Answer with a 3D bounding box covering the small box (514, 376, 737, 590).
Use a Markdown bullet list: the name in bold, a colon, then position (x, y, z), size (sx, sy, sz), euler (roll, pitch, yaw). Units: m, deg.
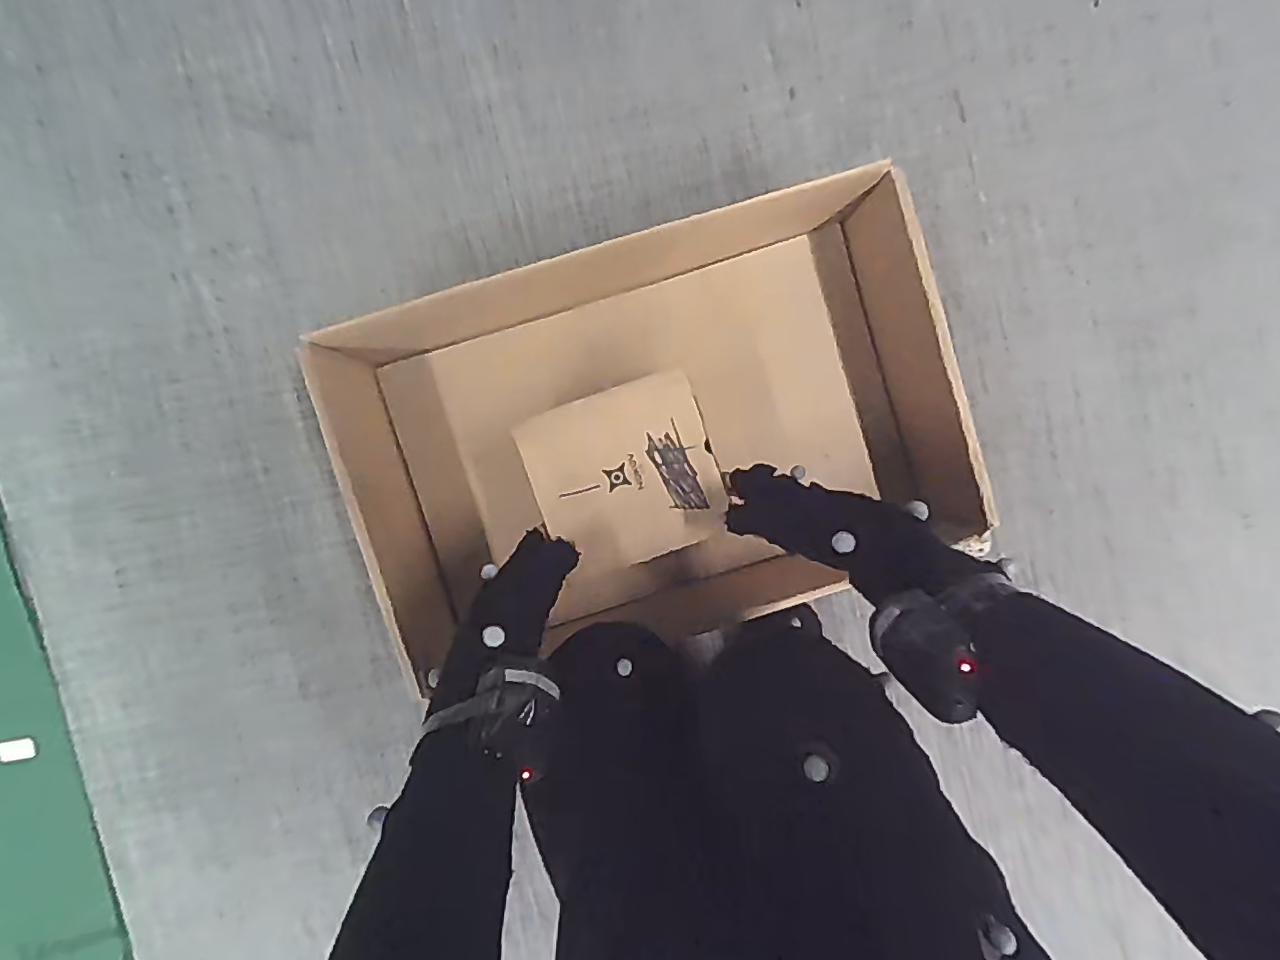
- **small box**: position (-0.014, 0.000, 0.588), size (0.179, 0.176, 0.168), euler (-18, 90, 1)
